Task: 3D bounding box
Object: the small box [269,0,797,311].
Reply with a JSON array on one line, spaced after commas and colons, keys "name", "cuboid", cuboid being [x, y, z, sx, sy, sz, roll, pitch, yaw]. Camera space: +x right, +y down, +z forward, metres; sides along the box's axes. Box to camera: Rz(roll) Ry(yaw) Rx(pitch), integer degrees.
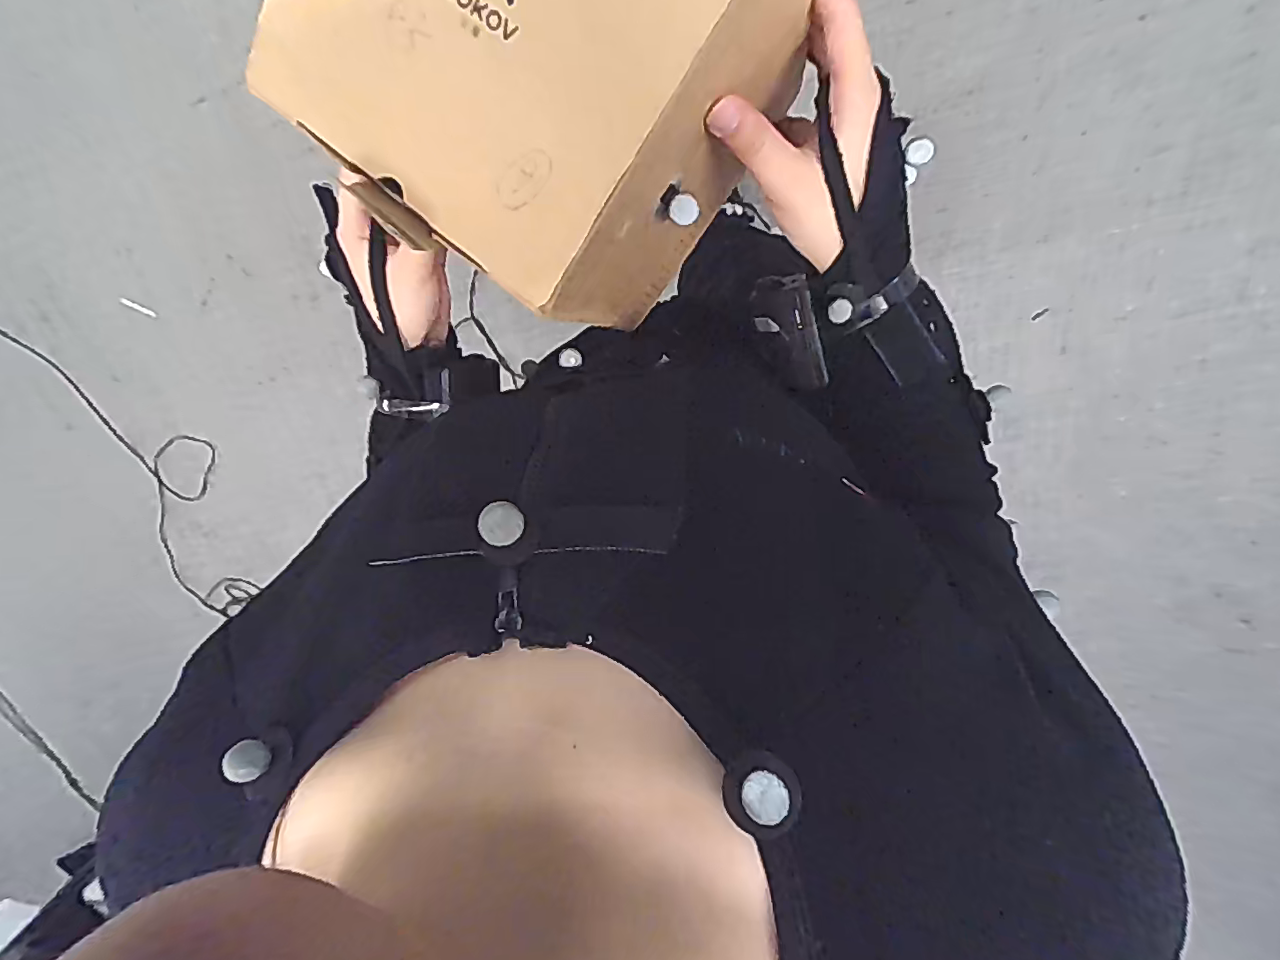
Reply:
[{"name": "small box", "cuboid": [-0.032, -0.205, 0.280, 0.168, 0.176, 0.179, 38, 109, 2]}]
